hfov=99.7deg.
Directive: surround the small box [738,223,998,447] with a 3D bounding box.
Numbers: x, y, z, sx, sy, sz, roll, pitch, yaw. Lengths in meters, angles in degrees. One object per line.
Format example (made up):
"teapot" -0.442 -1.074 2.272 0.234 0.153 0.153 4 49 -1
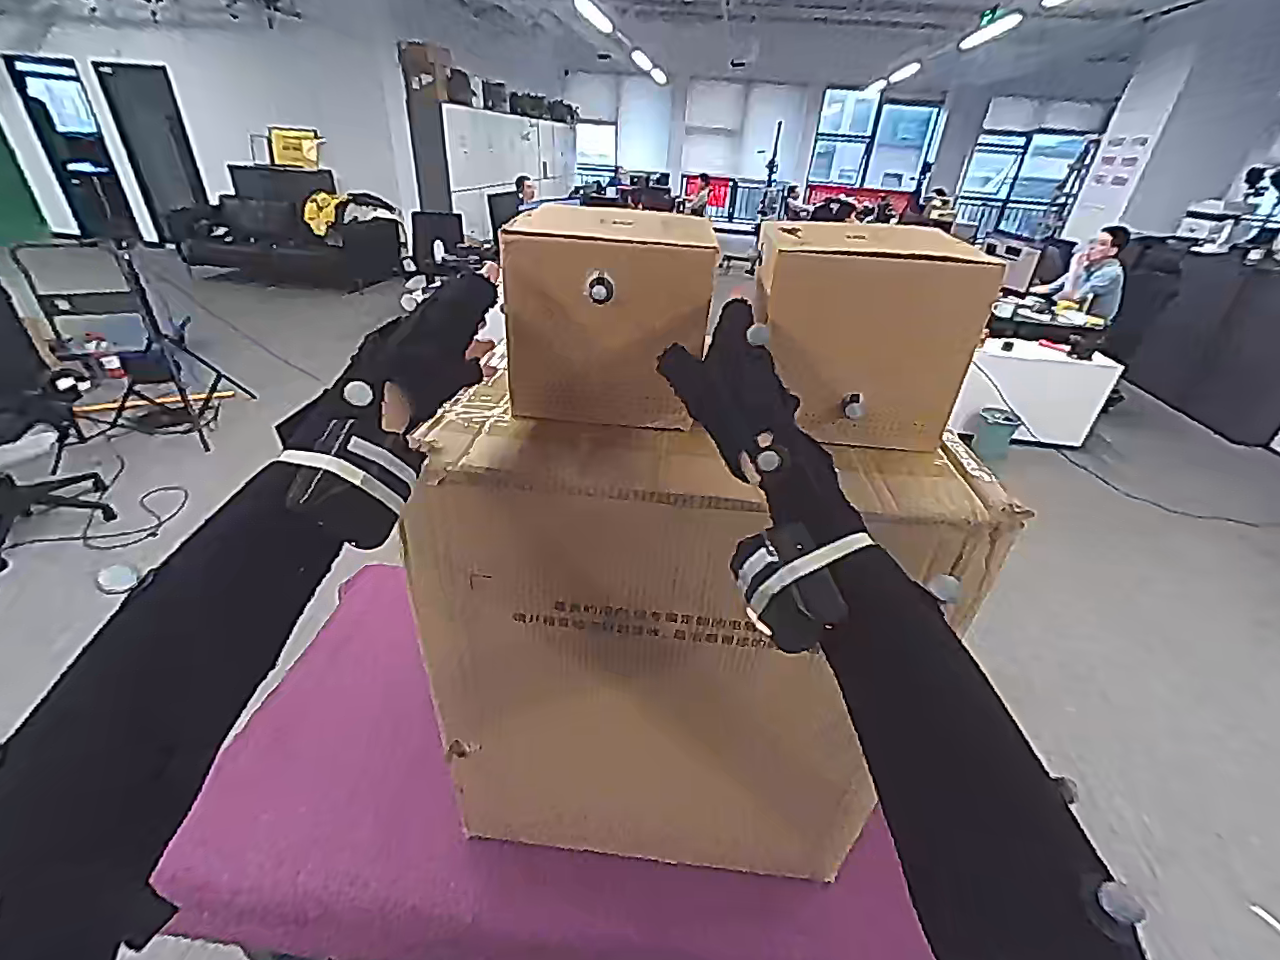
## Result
"small box" 0.198 -0.145 0.532 0.179 0.176 0.168 6 32 4
